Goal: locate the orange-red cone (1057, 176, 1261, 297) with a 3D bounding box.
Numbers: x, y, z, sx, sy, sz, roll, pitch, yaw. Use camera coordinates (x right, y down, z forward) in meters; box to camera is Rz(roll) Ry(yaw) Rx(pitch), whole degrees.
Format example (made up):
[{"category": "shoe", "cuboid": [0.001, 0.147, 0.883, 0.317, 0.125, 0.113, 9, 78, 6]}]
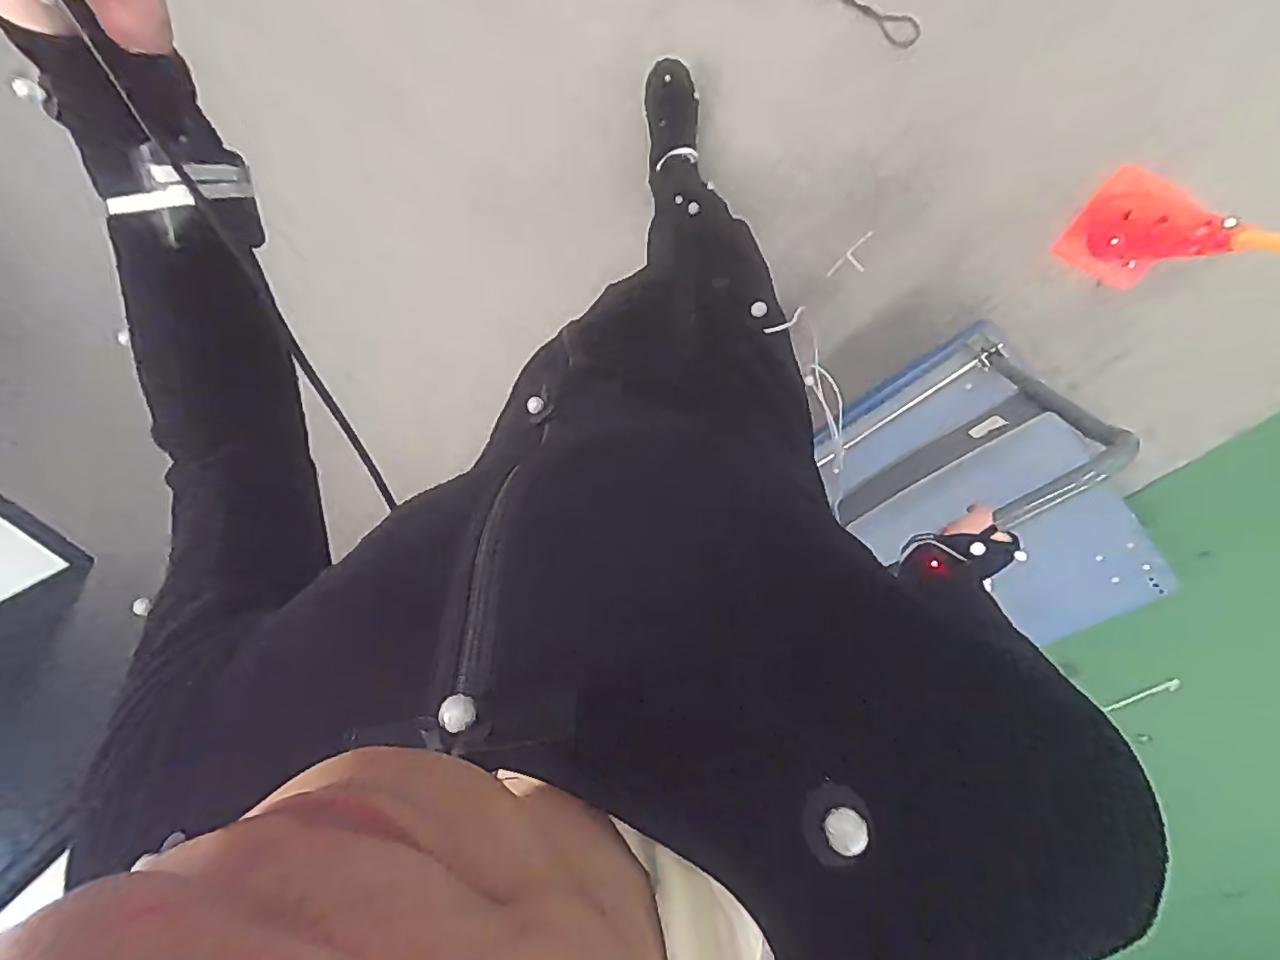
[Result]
[{"category": "orange-red cone", "cuboid": [1.026, -0.455, 1.034, 0.198, 0.360, 0.199, 28, 118, -2]}]
